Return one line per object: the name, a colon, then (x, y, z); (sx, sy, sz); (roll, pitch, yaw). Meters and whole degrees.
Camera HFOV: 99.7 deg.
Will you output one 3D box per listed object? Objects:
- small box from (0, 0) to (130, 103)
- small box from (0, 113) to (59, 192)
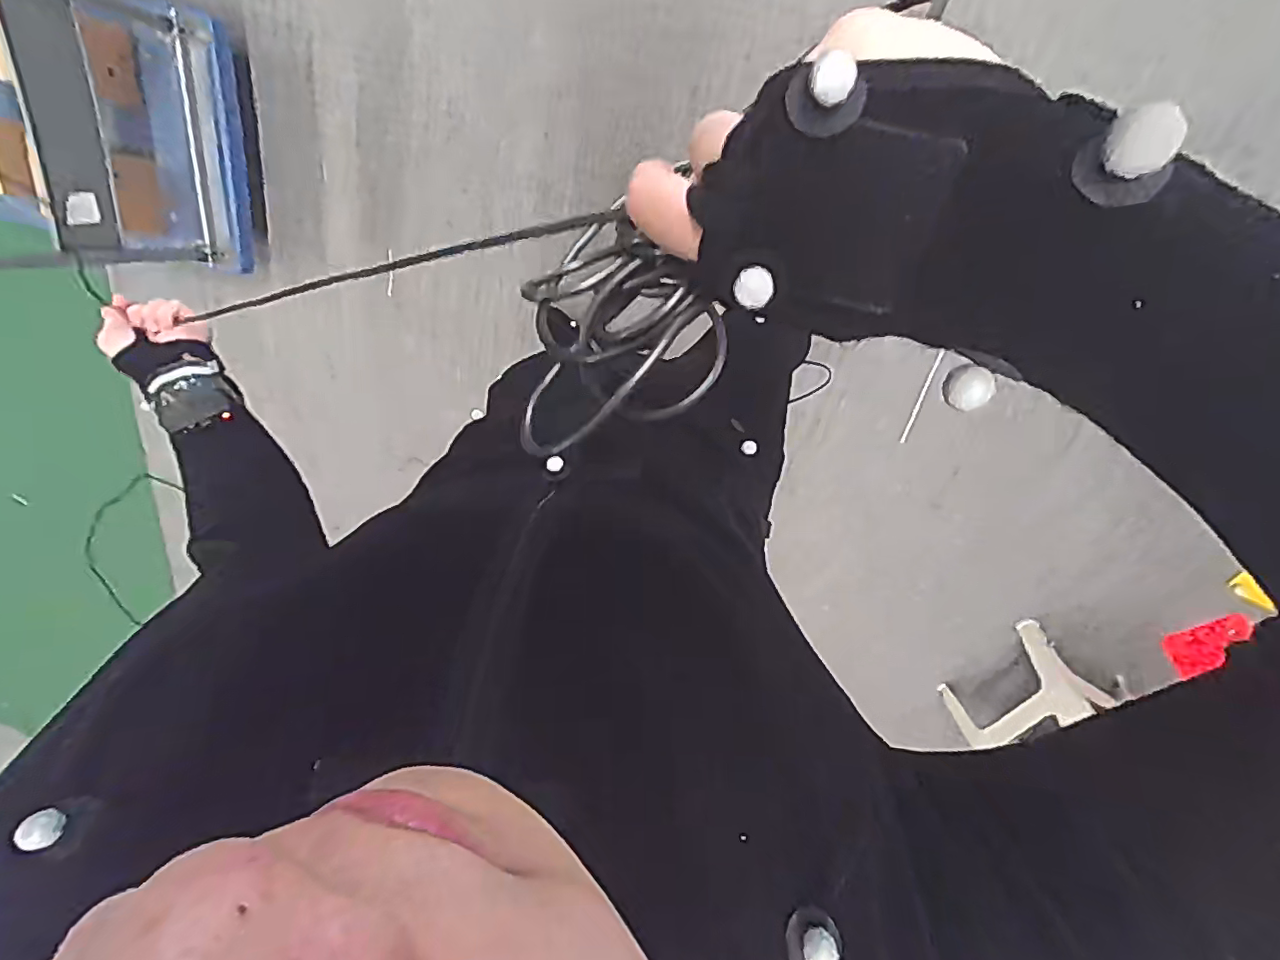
small box: (-1.314, -0.973, 1.211); (0.179, 0.176, 0.168); (15, 116, 3)
small box: (-1.608, -0.819, 1.338); (0.179, 0.176, 0.168); (12, 115, 6)
